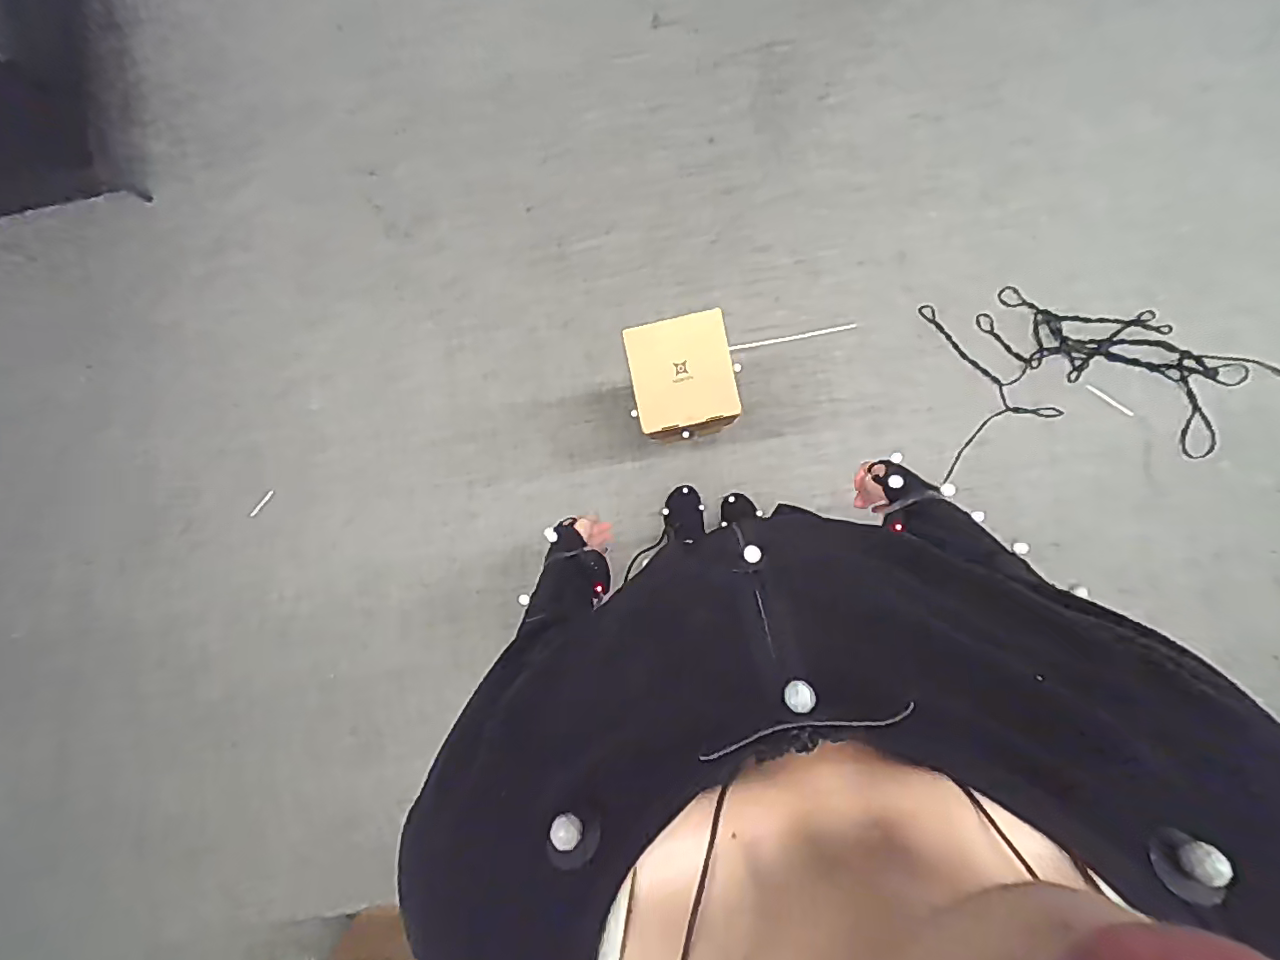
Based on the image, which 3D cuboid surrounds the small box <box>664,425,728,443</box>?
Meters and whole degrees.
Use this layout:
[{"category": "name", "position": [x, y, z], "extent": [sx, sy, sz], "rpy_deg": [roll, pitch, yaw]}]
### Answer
[{"category": "small box", "position": [0.131, -0.195, 1.434], "extent": [0.179, 0.176, 0.168], "rpy_deg": [-10, 89, 5]}]

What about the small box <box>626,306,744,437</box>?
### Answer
[{"category": "small box", "position": [0.078, -0.179, 0.947], "extent": [0.168, 0.176, 0.179], "rpy_deg": [-12, 90, 6]}]
